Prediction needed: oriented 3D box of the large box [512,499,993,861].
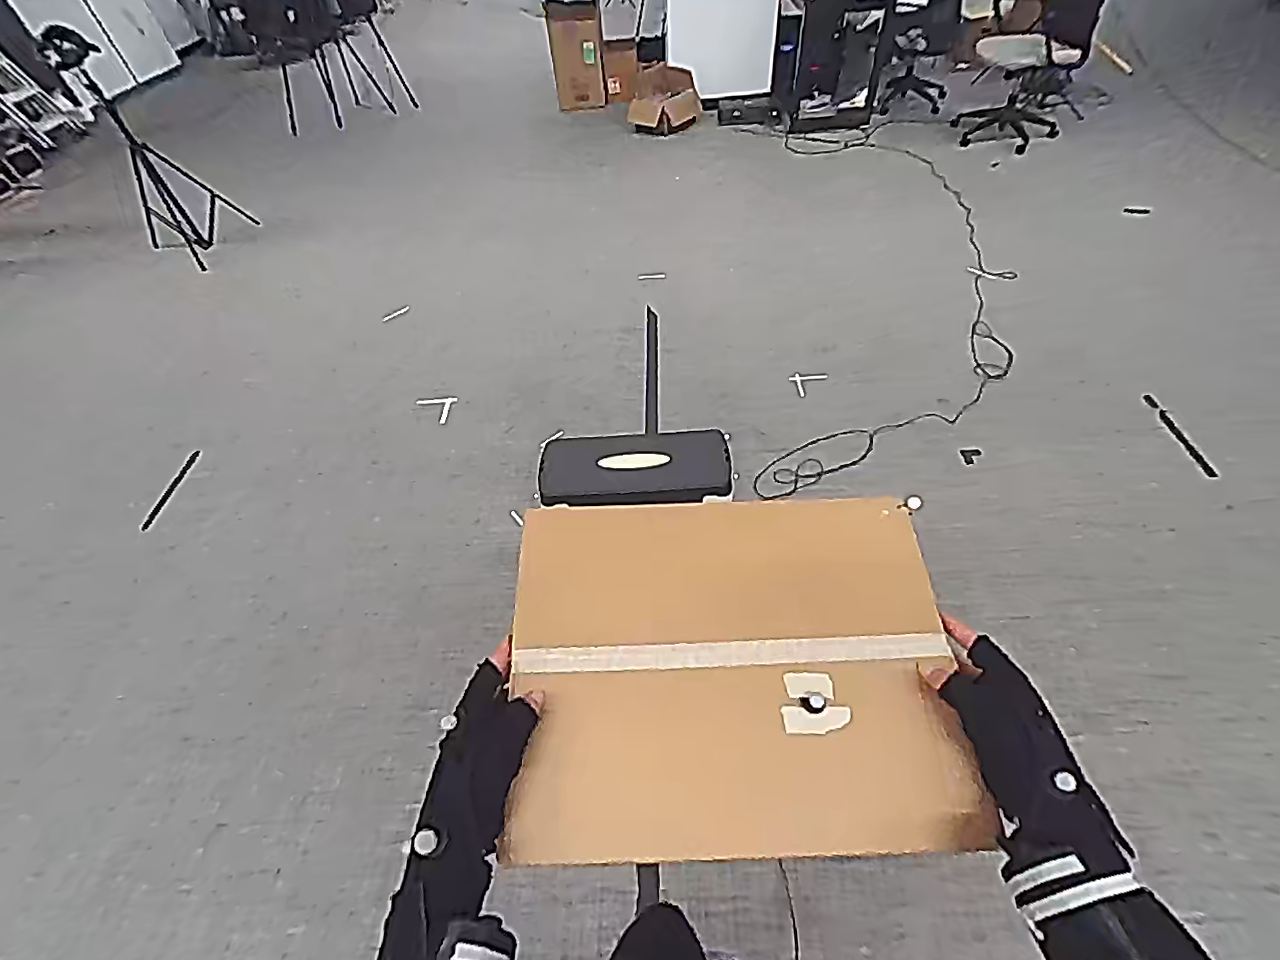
[{"bbox_3d":[0.085,0.235,0.639,0.408,0.320,0.320,-2,61,-1],"label":"large box"}]
